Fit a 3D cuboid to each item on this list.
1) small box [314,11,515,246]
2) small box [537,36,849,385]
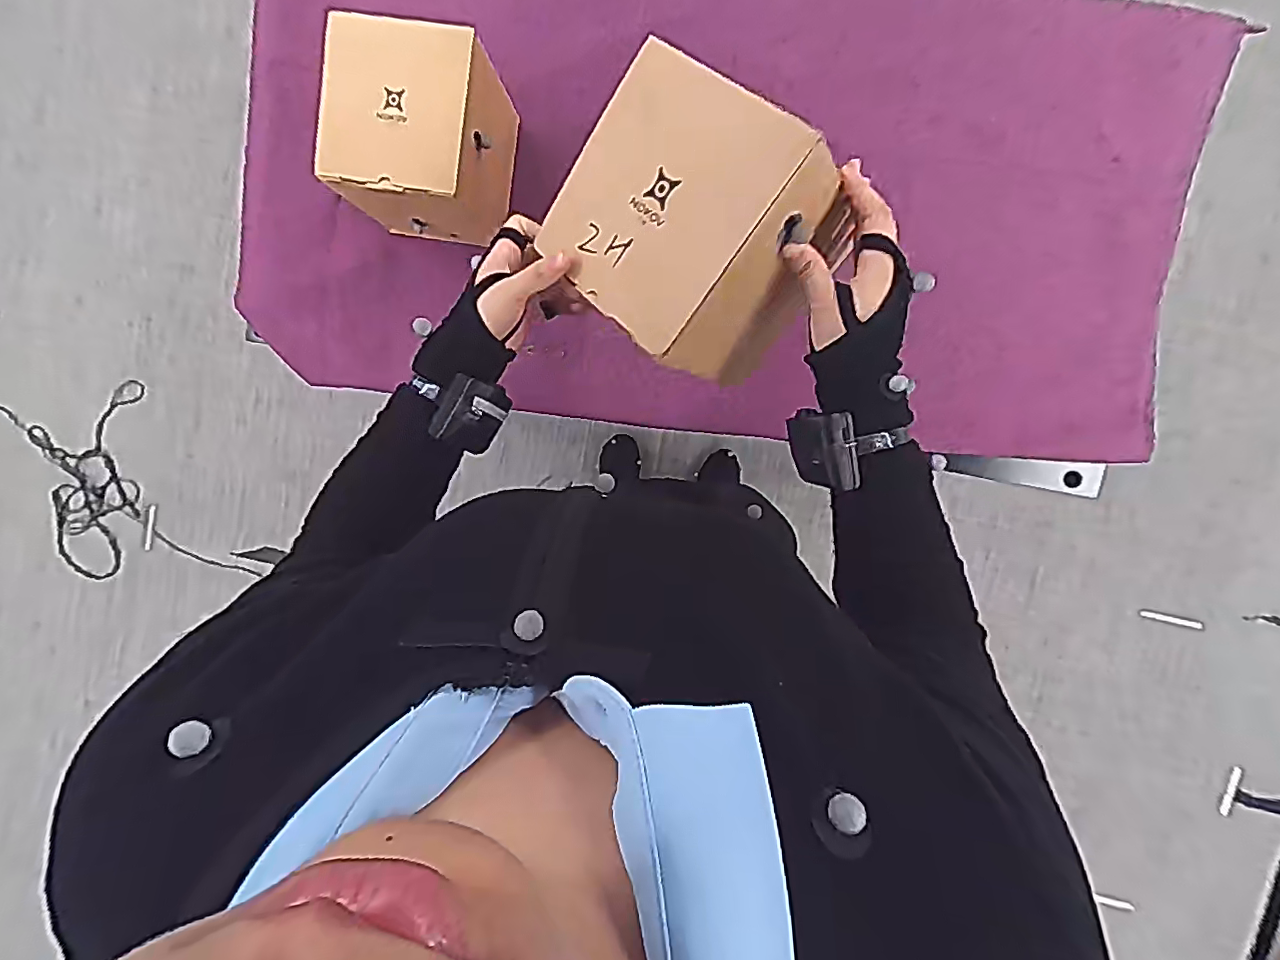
[{"bbox_3d":[-0.262,-0.415,0.667,0.168,0.176,0.179,9,96,3],"label":"small box"},{"bbox_3d":[0.054,-0.205,0.458,0.168,0.176,0.179,45,111,22],"label":"small box"}]
